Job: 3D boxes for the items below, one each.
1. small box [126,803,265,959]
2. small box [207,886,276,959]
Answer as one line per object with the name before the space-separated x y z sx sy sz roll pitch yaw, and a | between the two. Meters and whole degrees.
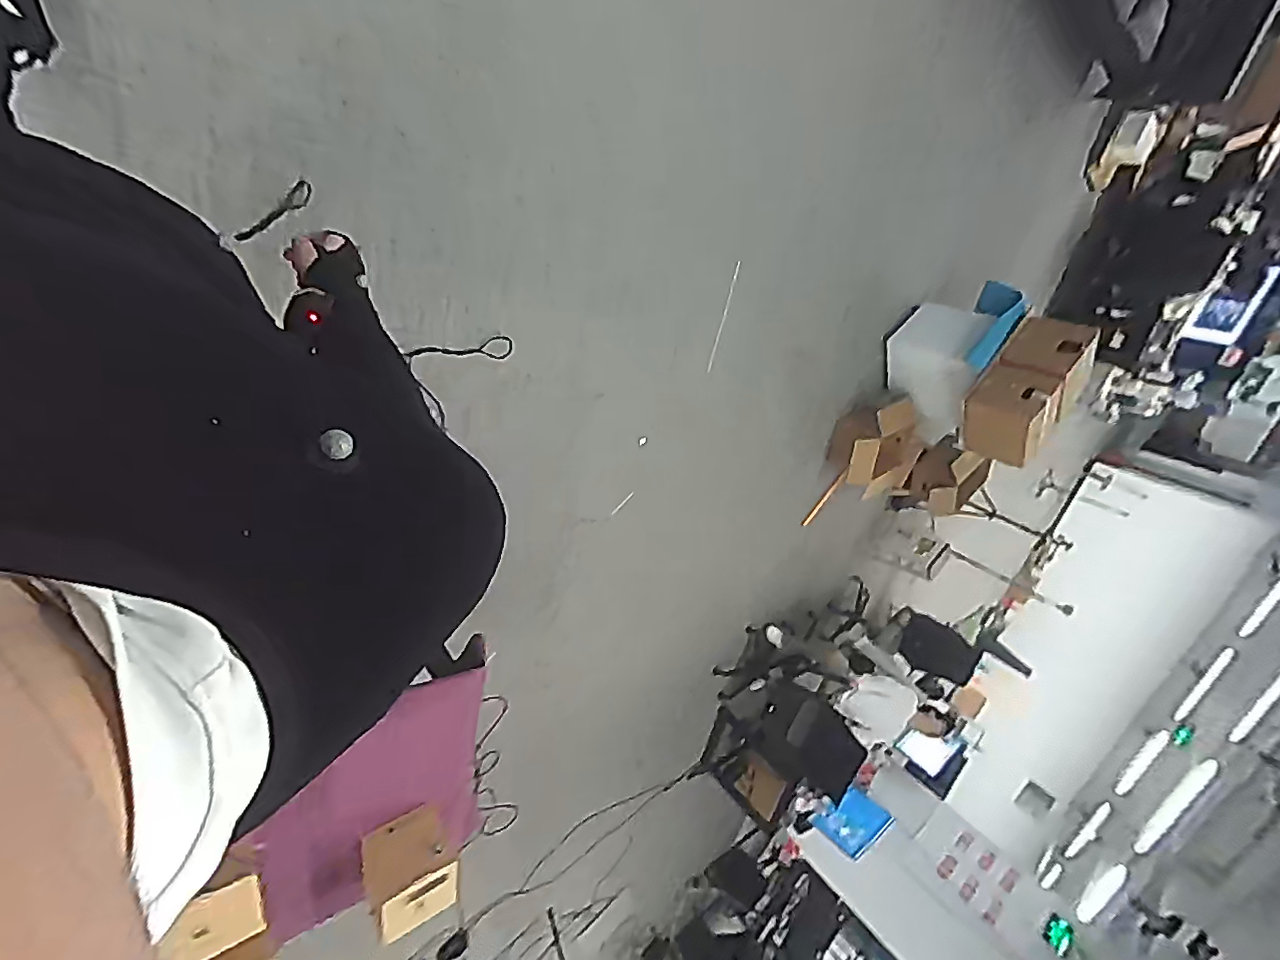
small box | -0.768 0.703 0.937 0.168 0.176 0.179 -9 123 -38
small box | -0.817 0.951 1.055 0.168 0.176 0.179 -7 119 -40
